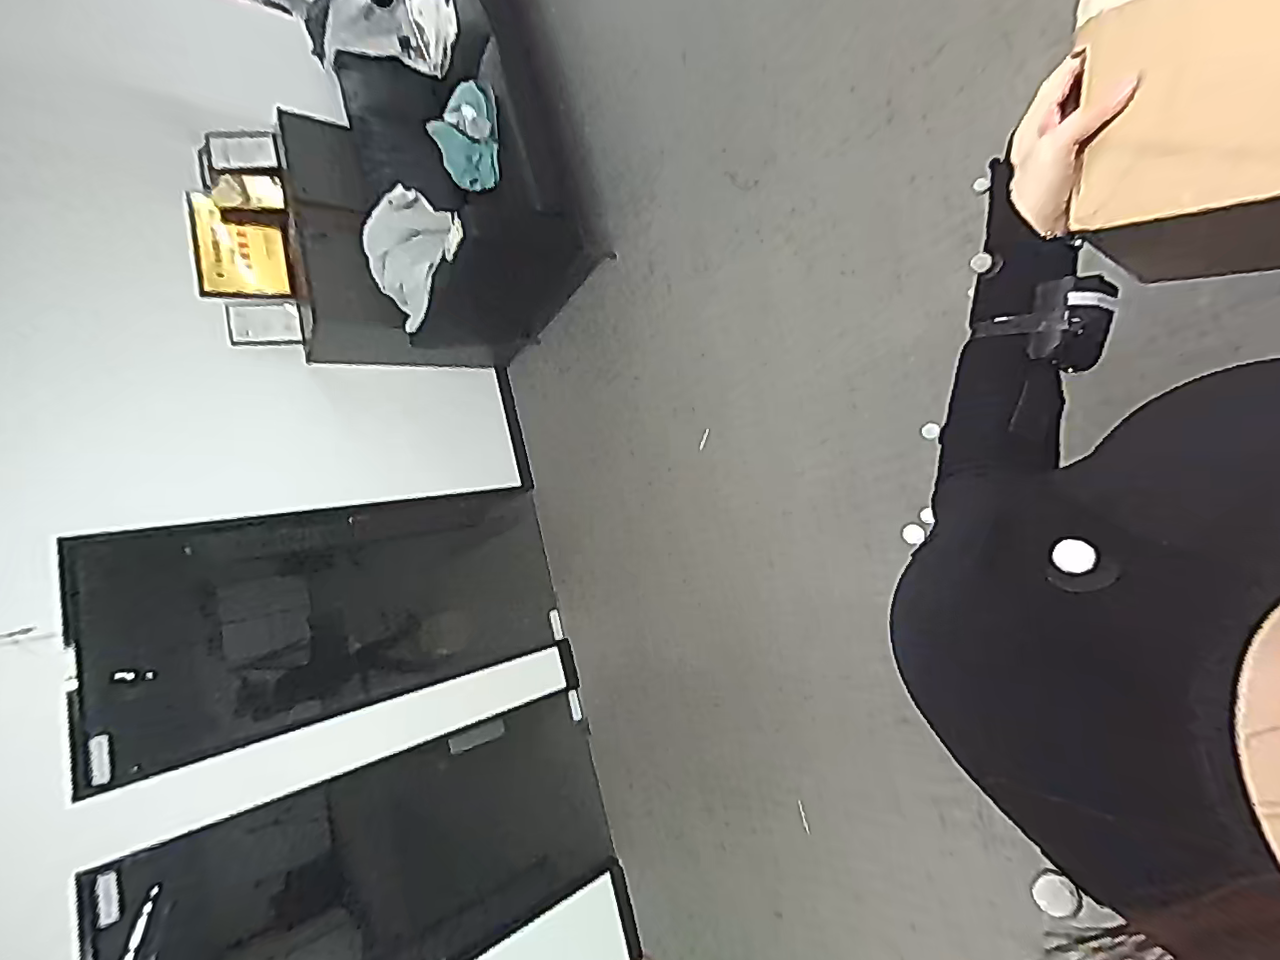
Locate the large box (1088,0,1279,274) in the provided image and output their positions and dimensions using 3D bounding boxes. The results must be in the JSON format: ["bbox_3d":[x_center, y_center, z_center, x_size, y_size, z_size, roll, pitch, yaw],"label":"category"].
[{"bbox_3d":[0.573,-0.346,0.338,0.408,0.320,0.320,9,103,48],"label":"large box"}]
